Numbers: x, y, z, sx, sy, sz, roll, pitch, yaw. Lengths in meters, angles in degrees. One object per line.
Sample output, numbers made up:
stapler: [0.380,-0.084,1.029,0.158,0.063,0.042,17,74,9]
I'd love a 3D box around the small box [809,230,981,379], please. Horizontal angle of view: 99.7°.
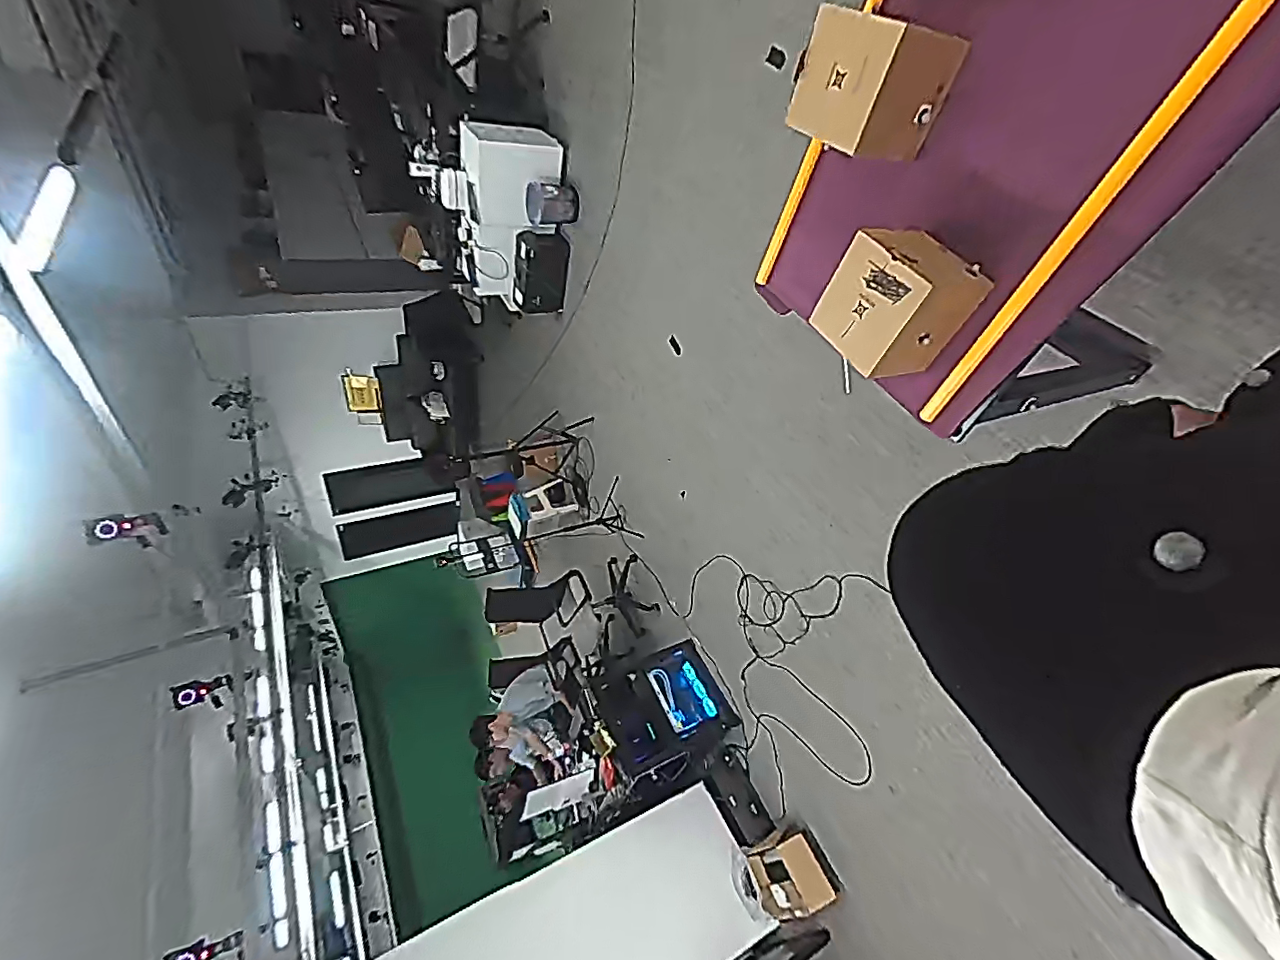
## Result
small box: [0.430,-0.296,0.910,0.168,0.176,0.179,59,147,30]

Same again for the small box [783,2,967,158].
small box: [0.373,-0.639,0.876,0.179,0.176,0.168,55,146,35]
